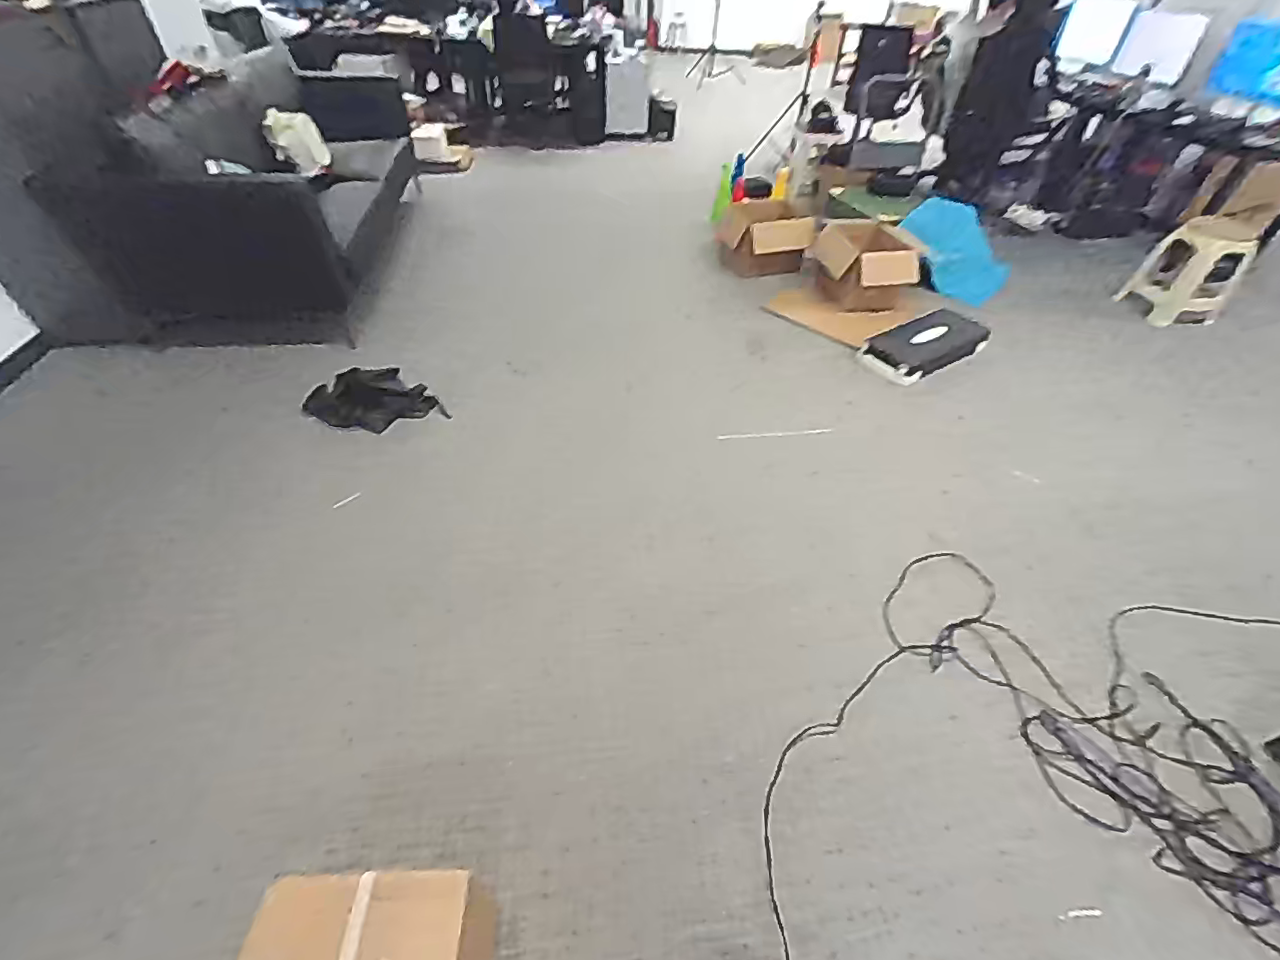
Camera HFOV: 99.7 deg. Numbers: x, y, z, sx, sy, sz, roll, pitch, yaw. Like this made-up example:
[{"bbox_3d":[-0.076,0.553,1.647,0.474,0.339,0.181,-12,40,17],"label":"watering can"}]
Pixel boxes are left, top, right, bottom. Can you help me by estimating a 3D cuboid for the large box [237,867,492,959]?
[{"bbox_3d":[-0.425,0.864,0.809,0.320,0.320,0.408,1,43,-3],"label":"large box"}]
